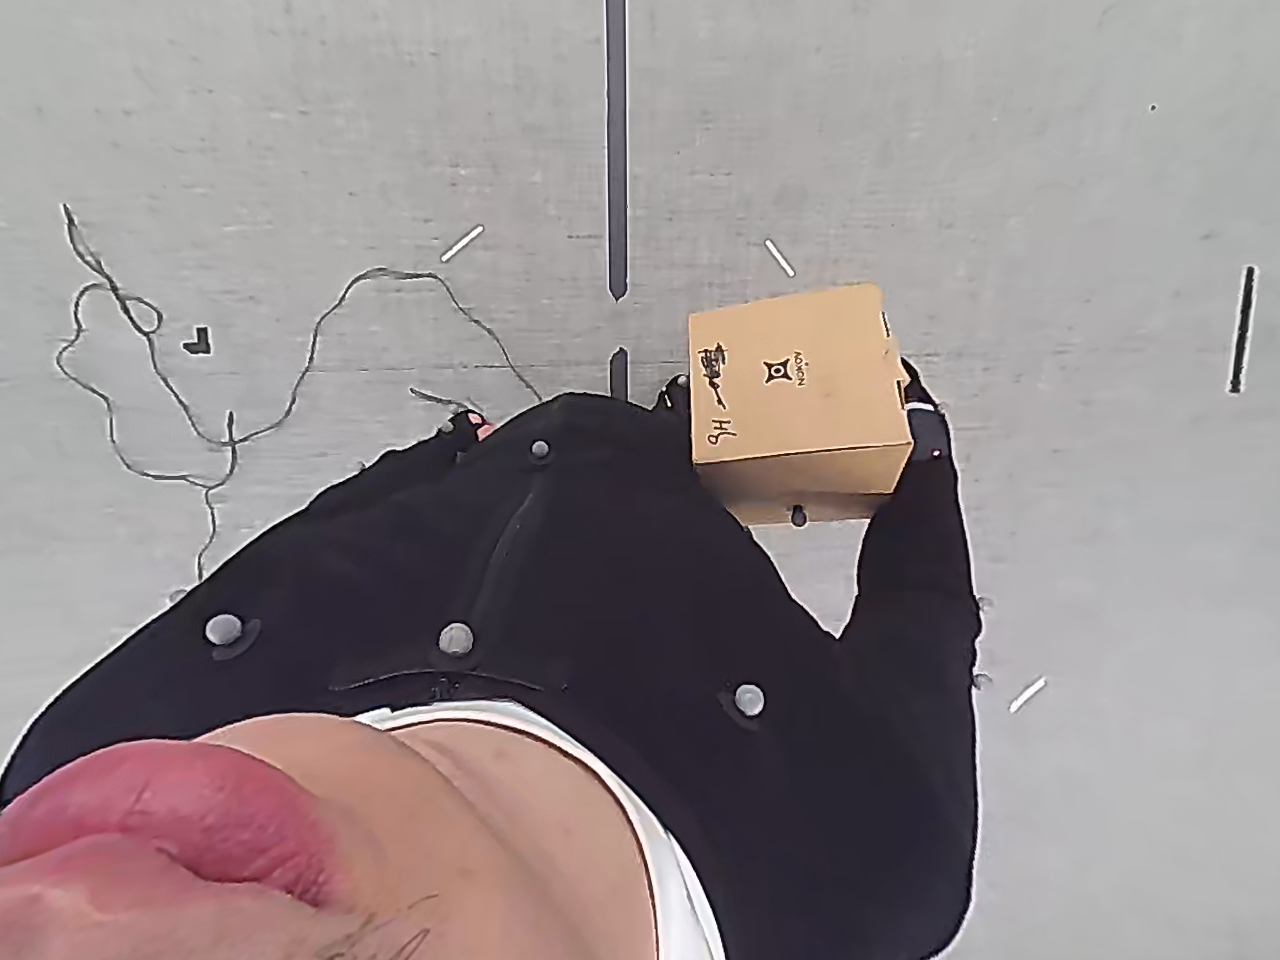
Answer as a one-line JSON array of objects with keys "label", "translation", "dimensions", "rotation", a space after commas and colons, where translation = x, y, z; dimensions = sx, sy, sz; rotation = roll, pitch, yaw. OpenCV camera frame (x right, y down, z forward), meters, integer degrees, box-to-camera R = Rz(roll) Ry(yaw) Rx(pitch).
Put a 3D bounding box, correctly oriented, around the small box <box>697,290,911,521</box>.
[{"label": "small box", "translation": [0.156, -0.064, 0.559], "dimensions": [0.179, 0.176, 0.168], "rotation": [-5, 64, 13]}]
